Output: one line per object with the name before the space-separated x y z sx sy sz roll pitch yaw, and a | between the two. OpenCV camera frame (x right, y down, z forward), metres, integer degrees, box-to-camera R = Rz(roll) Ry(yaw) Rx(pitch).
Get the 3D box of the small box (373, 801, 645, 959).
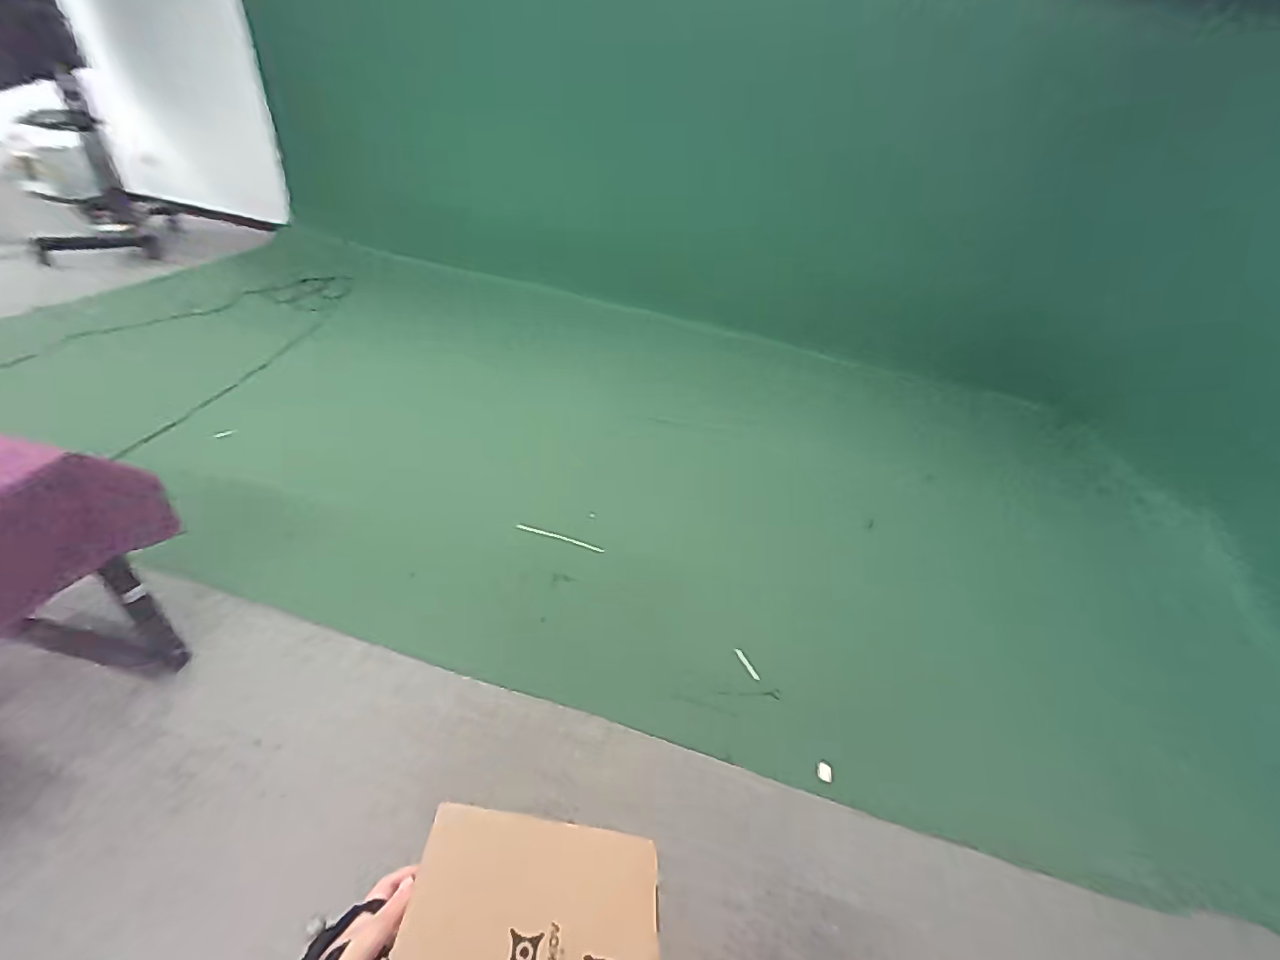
small box | -0.107 0.370 0.390 0.179 0.176 0.168 19 31 -11
